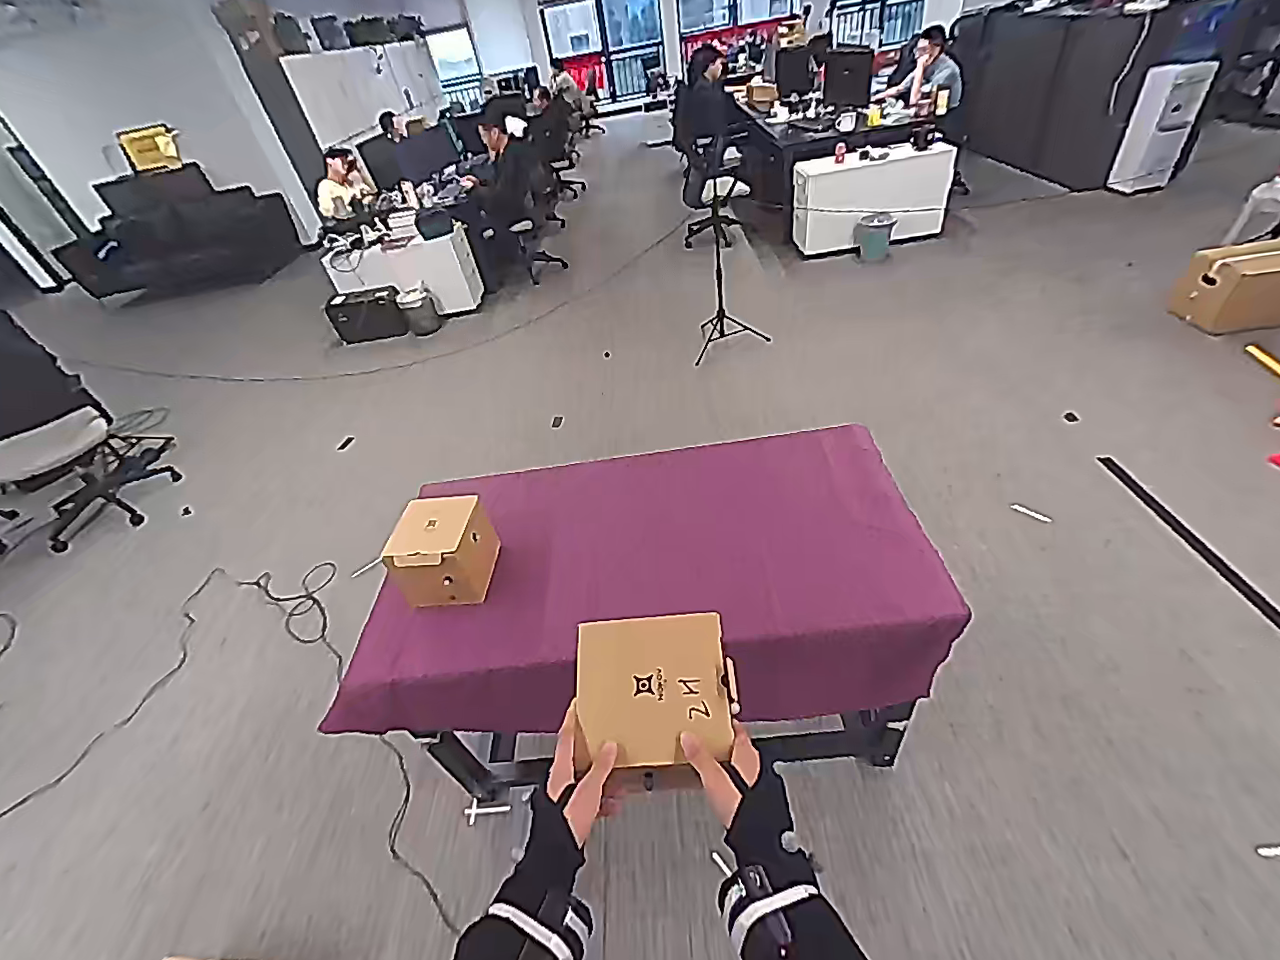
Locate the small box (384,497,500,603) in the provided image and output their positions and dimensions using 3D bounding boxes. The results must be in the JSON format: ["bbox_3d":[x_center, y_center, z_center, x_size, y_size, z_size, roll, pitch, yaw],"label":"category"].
[{"bbox_3d":[-0.427,0.159,1.202,0.168,0.176,0.179,-3,40,8],"label":"small box"}]

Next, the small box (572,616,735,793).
[{"bbox_3d":[0.021,0.284,0.674,0.179,0.176,0.168,-5,52,4],"label":"small box"}]
